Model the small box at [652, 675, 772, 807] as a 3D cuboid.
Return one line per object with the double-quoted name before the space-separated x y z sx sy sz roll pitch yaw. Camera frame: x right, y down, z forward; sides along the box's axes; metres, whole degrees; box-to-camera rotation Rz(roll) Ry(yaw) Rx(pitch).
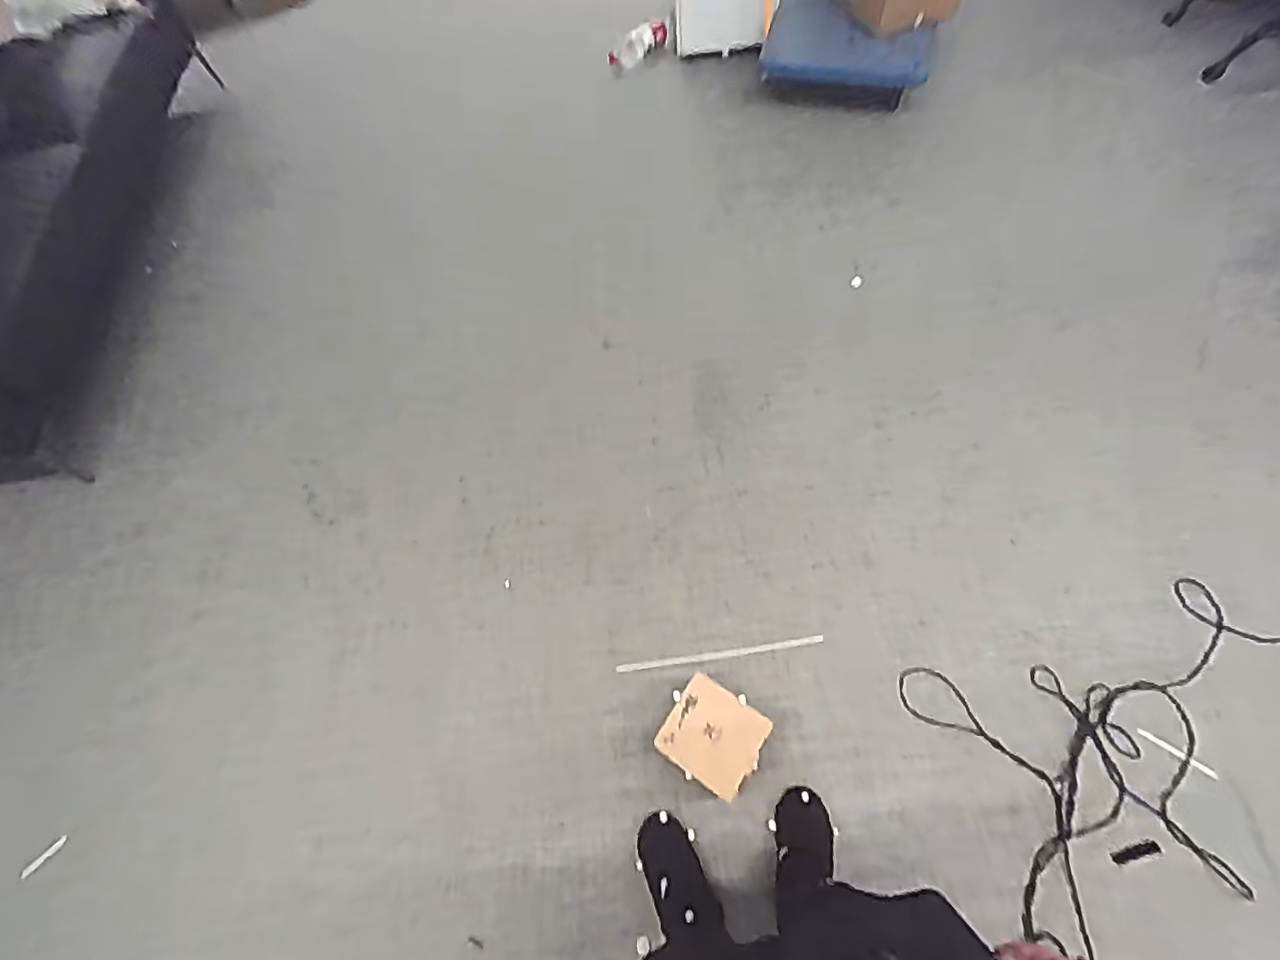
"small box" 0.145 0.522 1.099 0.179 0.176 0.168 31 71 19
